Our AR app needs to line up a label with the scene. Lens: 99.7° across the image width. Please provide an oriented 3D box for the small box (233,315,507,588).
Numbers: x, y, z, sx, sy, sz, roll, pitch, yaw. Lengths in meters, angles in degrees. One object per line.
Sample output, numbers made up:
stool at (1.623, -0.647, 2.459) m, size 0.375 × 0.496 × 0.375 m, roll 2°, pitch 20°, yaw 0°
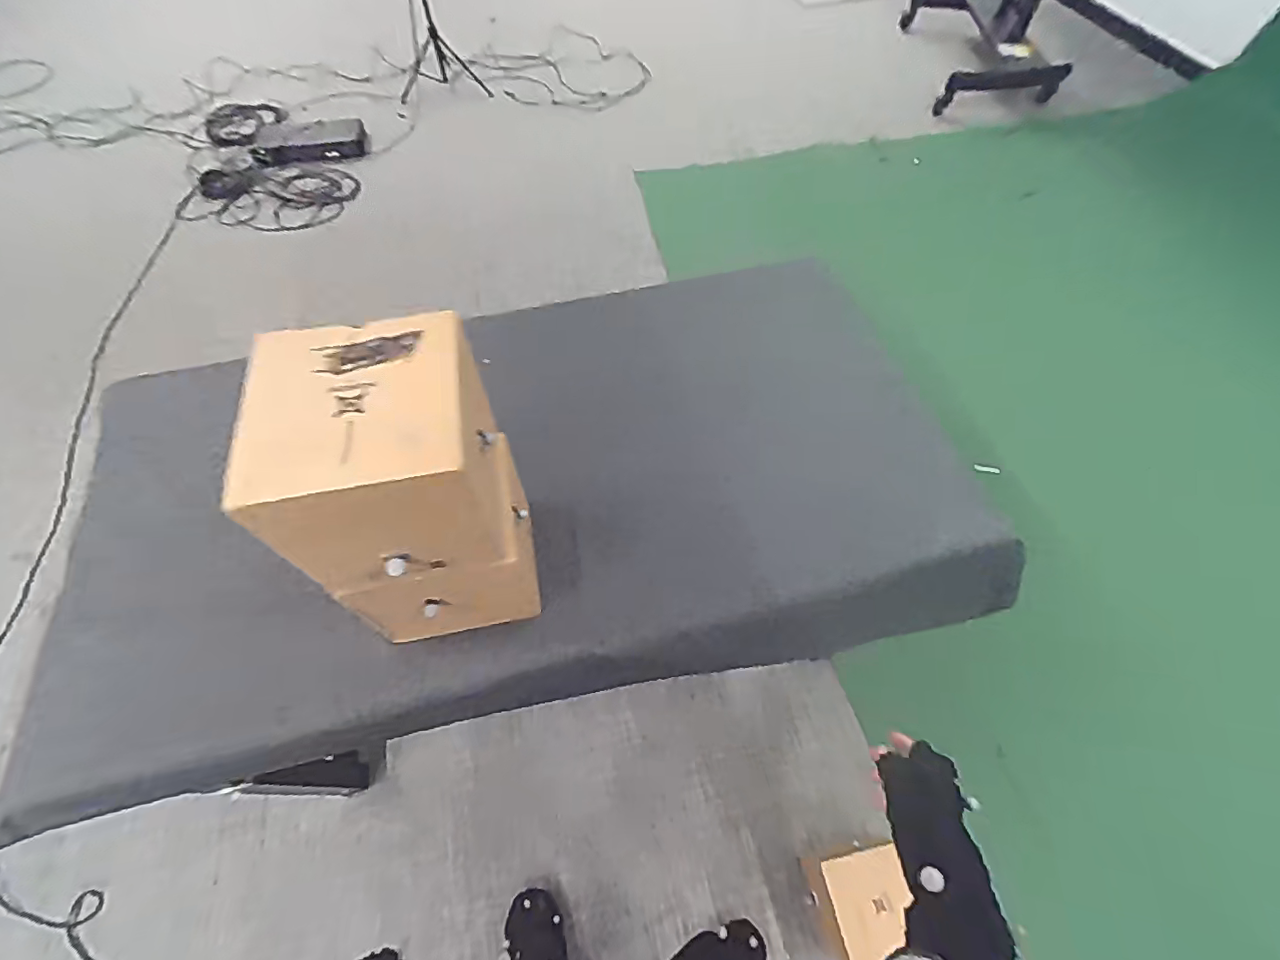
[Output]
small box at (-0.222, -0.022, 0.497) m, size 0.168 × 0.176 × 0.179 m, roll -9°, pitch 59°, yaw -7°

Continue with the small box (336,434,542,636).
small box at (-0.221, 0.071, 0.634) m, size 0.179 × 0.176 × 0.168 m, roll -9°, pitch 59°, yaw -6°

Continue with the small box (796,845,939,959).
small box at (0.425, 0.820, 1.042) m, size 0.179 × 0.176 × 0.168 m, roll -10°, pitch 58°, yaw -5°
